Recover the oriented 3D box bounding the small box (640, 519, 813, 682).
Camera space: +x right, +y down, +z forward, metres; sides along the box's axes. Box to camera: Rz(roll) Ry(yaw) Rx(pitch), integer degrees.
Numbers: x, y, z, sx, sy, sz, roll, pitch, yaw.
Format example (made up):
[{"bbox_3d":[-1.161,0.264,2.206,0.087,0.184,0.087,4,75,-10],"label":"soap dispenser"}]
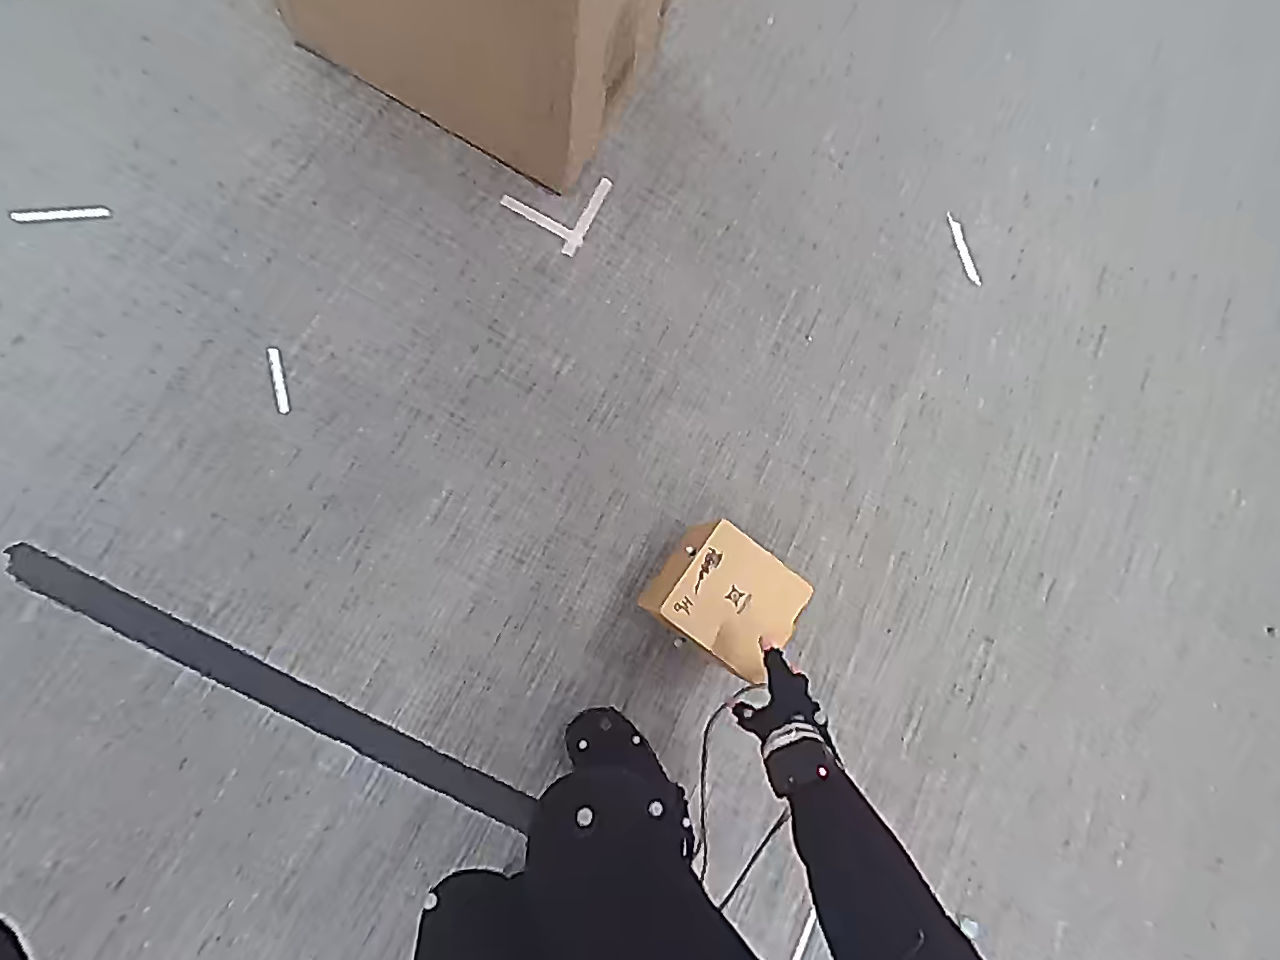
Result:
[{"bbox_3d":[0.124,0.178,0.838,0.179,0.176,0.168,37,77,-4],"label":"small box"}]
